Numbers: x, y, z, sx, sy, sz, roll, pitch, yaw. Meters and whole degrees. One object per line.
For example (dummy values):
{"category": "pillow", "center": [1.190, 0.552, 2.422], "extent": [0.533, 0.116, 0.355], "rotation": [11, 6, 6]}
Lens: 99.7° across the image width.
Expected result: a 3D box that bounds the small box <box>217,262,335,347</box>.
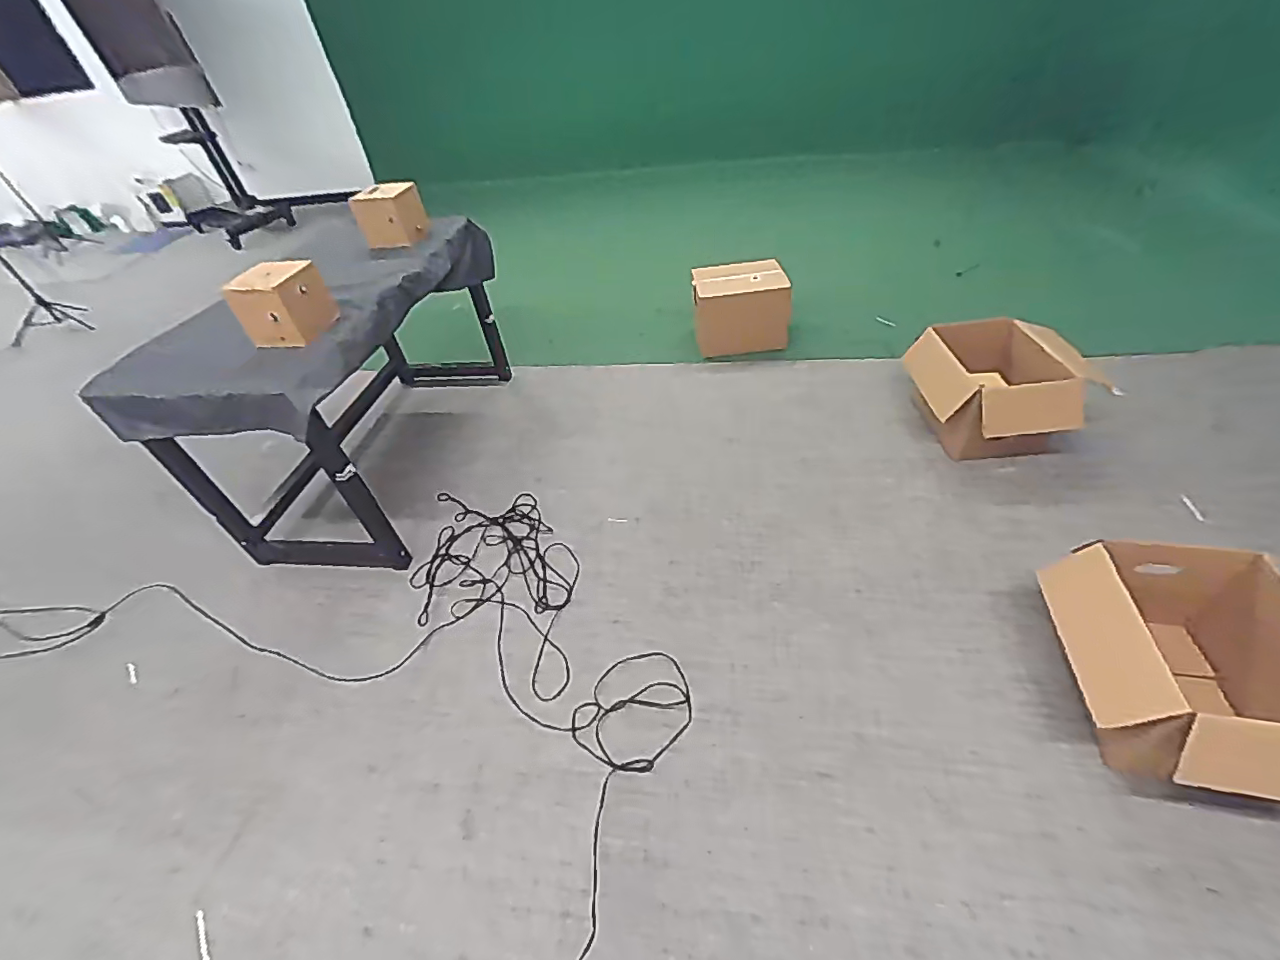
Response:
{"category": "small box", "center": [-0.972, -0.474, 1.465], "extent": [0.168, 0.176, 0.179], "rotation": [3, 42, 10]}
